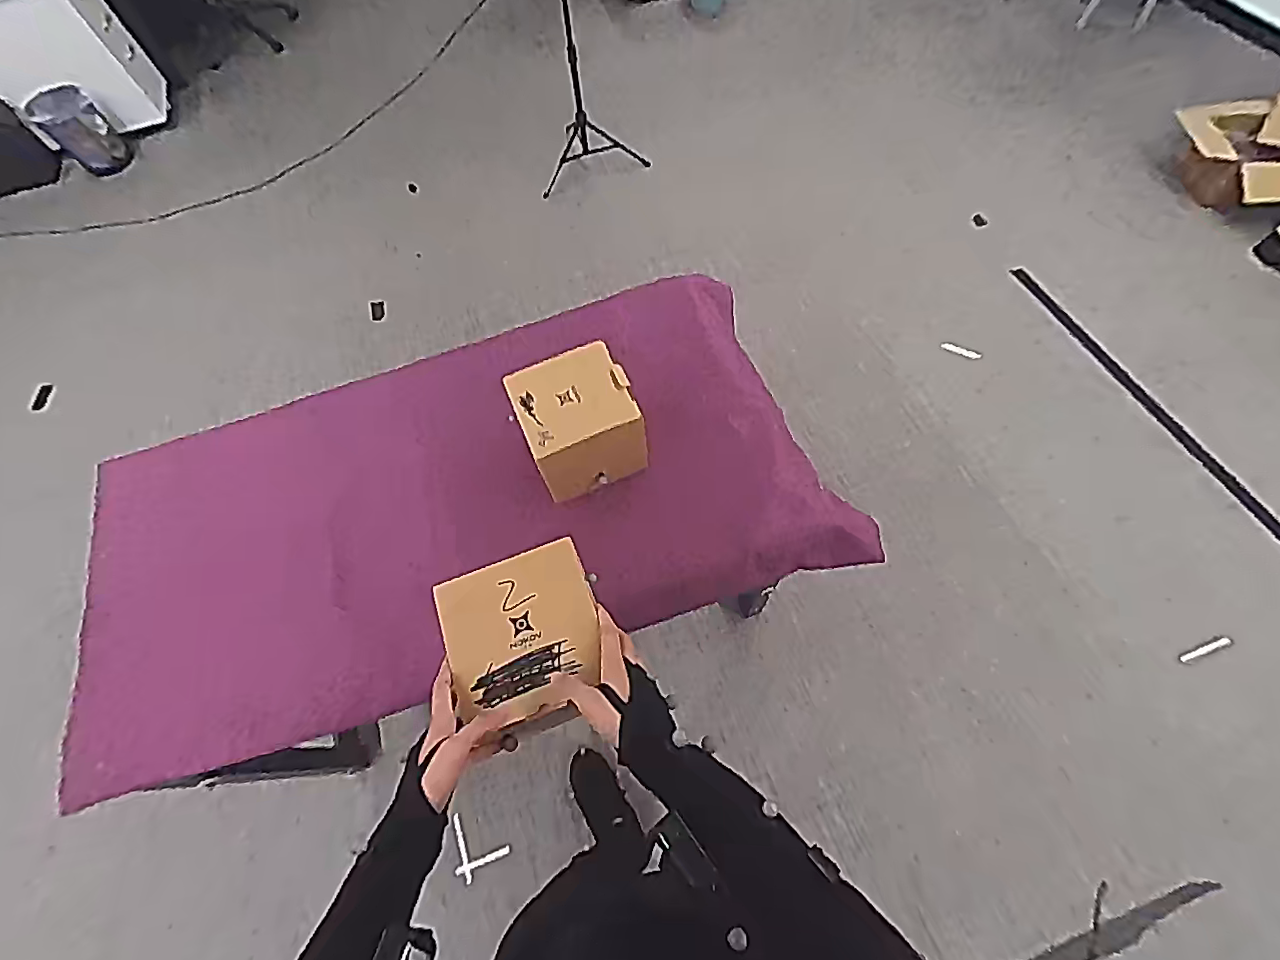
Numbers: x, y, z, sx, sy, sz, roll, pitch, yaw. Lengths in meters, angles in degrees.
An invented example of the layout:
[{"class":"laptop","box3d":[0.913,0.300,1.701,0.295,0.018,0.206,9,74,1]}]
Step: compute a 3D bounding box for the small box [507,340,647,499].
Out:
[{"class":"small box","box3d":[-0.097,-0.094,0.898,0.179,0.176,0.168,-22,64,-8]}]
